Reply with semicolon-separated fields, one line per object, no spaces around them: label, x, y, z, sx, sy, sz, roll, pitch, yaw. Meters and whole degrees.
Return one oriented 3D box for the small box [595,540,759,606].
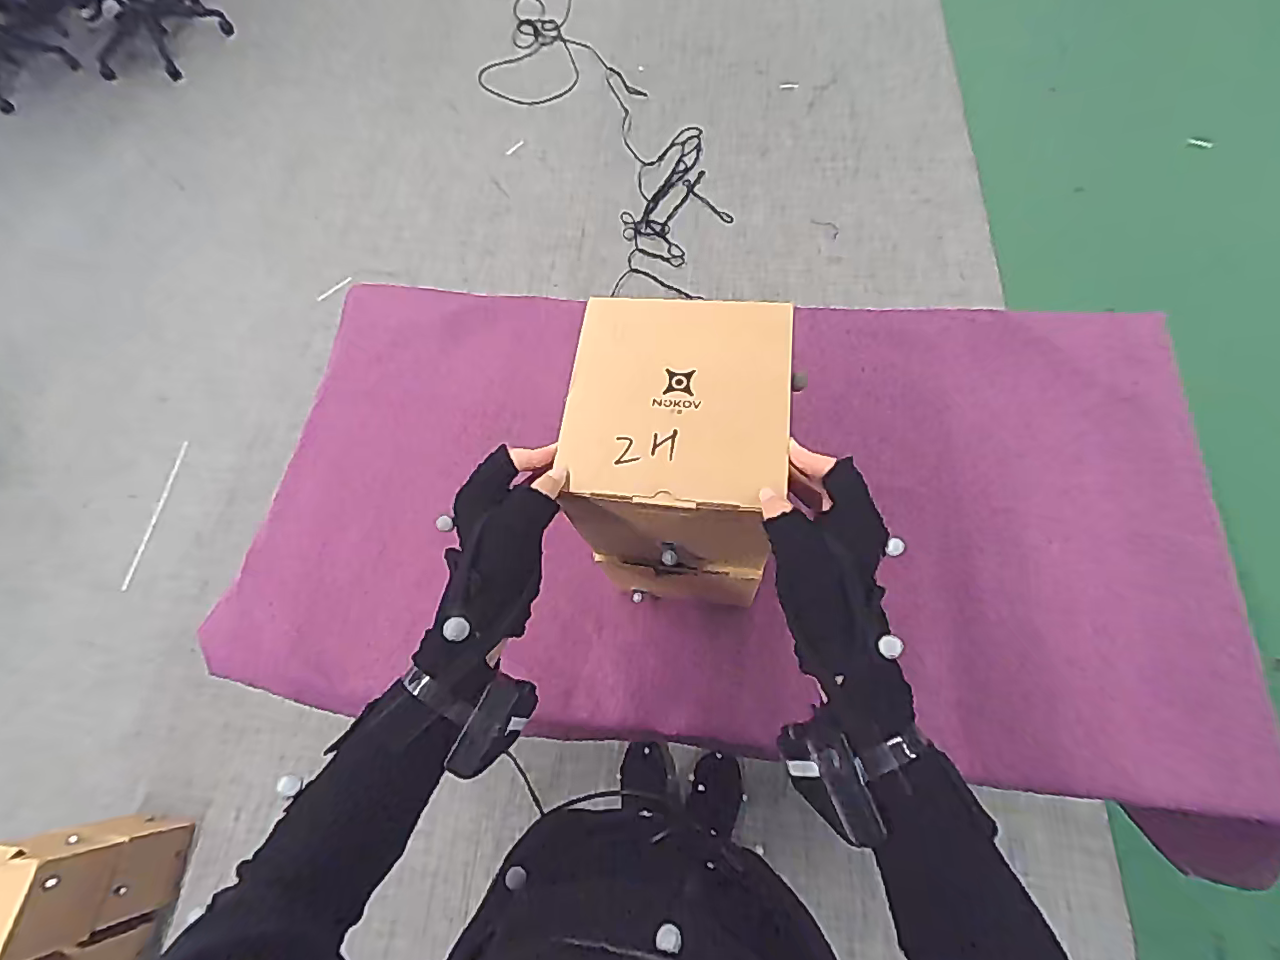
small box;0.055;0.041;0.631;0.168;0.176;0.179;5;67;9

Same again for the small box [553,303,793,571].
small box;0.037;-0.031;0.484;0.168;0.176;0.179;5;68;9
